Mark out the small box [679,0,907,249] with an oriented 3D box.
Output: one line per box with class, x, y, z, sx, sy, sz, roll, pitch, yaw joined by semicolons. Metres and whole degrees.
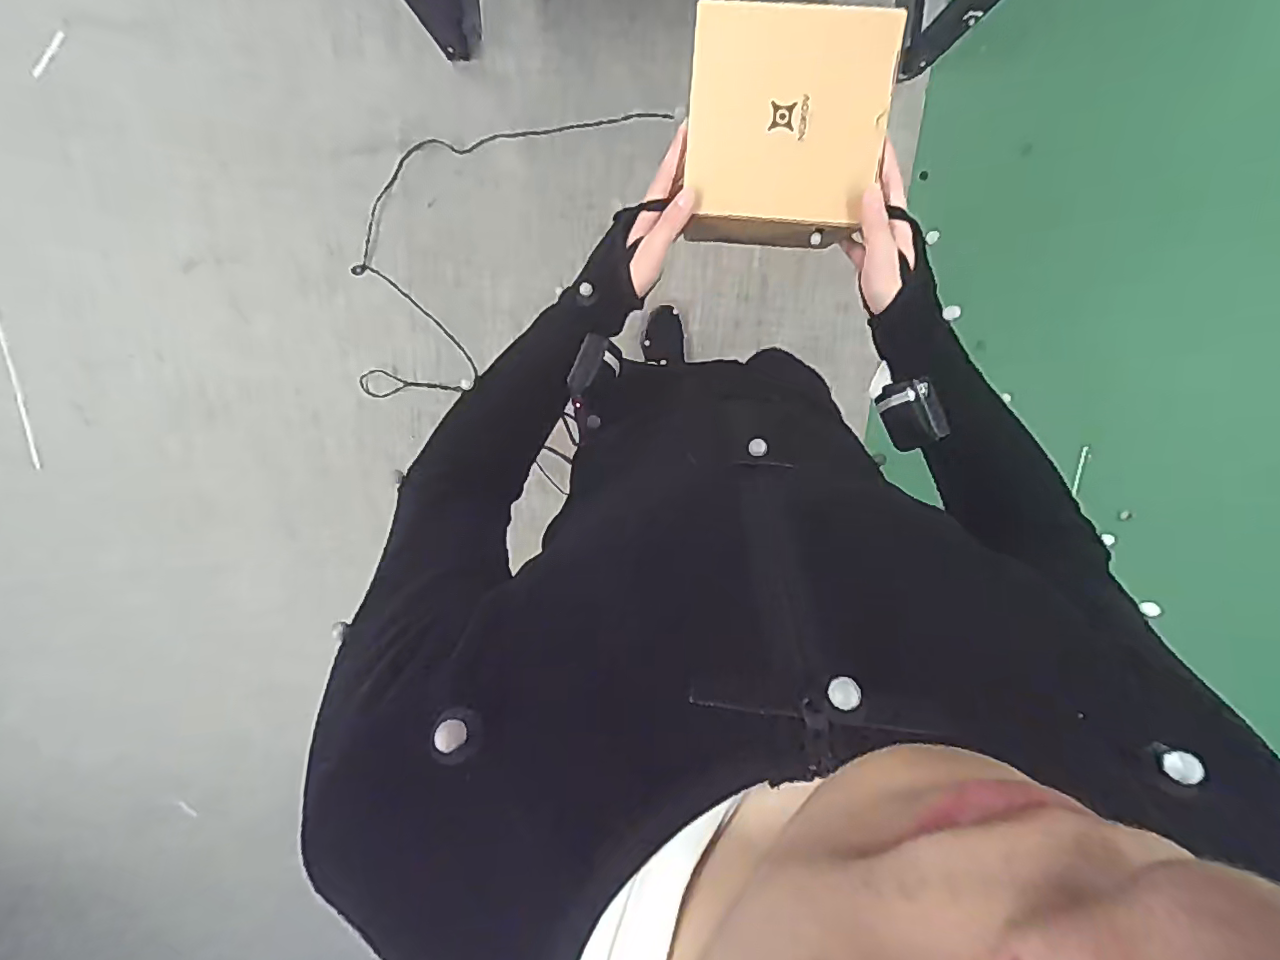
small box;0.133;-0.337;0.547;0.179;0.176;0.168;5;106;2
